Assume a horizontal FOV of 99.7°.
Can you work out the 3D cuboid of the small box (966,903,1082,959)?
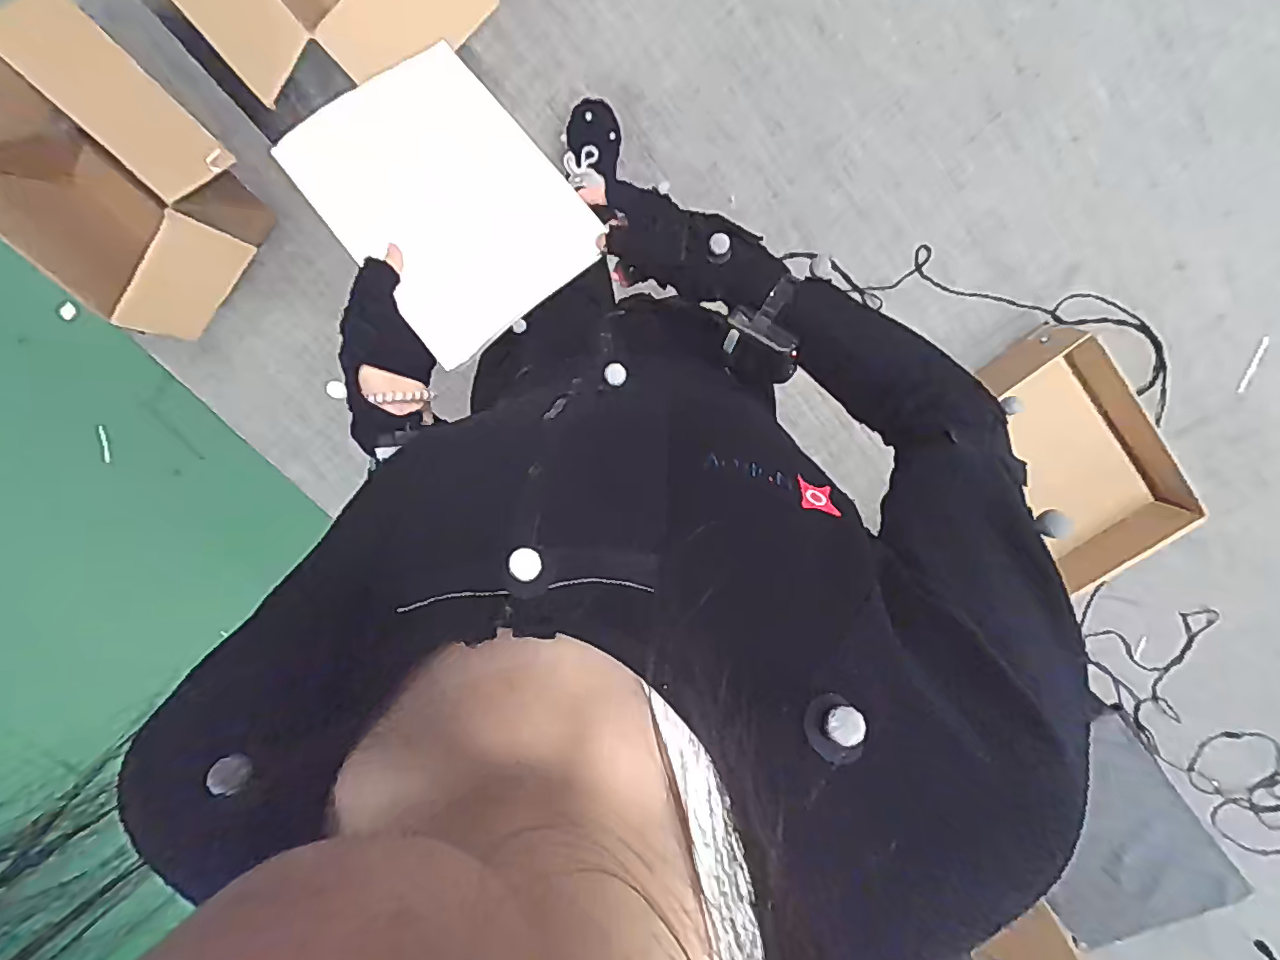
[{"bbox_3d":[0.754,0.953,1.020,0.179,0.176,0.168,-35,107,16],"label":"small box"}]
